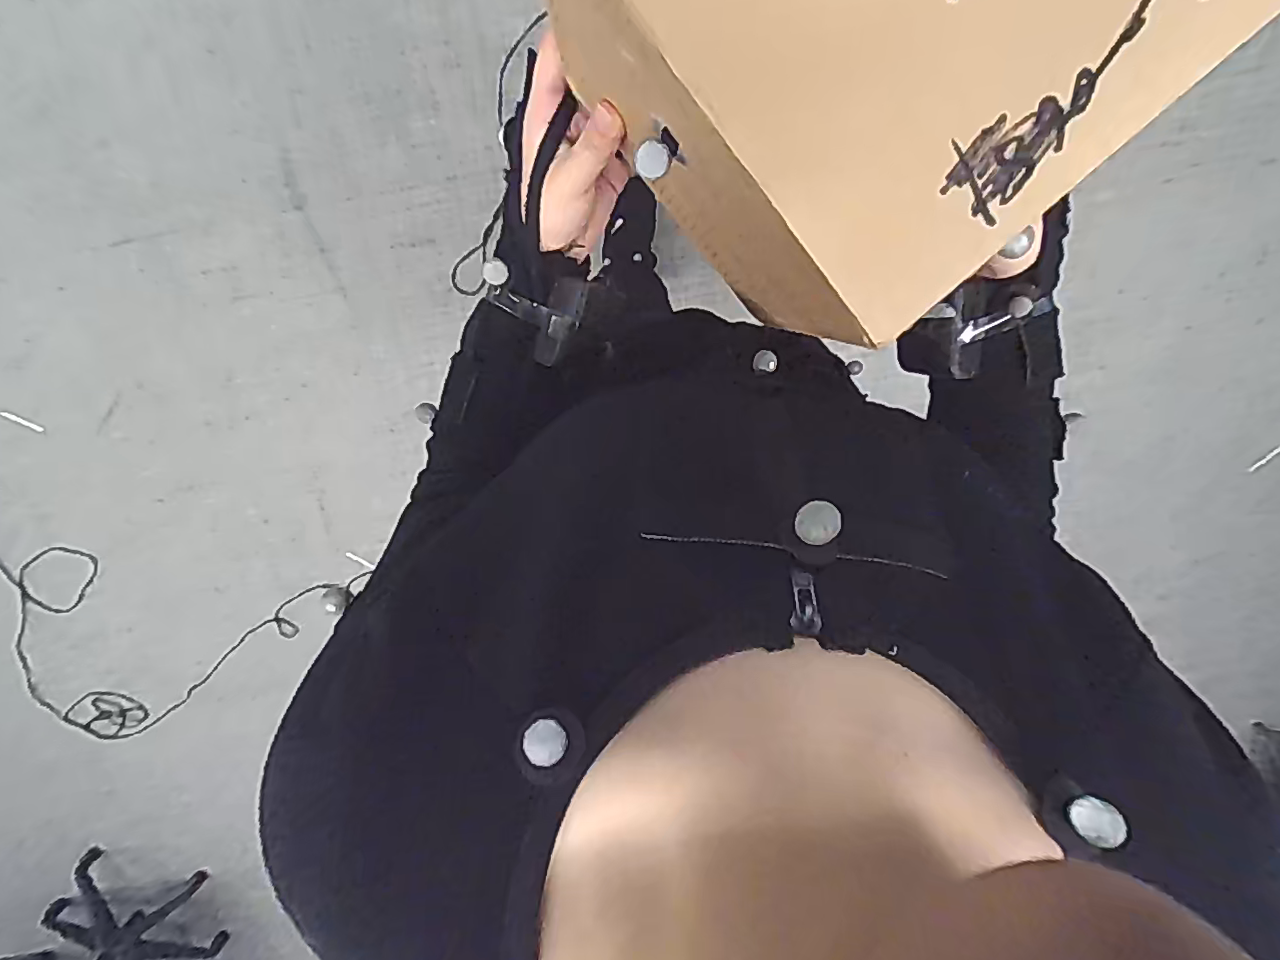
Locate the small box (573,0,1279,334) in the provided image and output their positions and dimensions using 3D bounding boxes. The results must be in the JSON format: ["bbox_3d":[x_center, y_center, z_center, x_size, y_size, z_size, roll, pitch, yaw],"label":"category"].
[{"bbox_3d":[0.083,-0.185,0.230,0.168,0.176,0.179,-41,105,13],"label":"small box"}]
